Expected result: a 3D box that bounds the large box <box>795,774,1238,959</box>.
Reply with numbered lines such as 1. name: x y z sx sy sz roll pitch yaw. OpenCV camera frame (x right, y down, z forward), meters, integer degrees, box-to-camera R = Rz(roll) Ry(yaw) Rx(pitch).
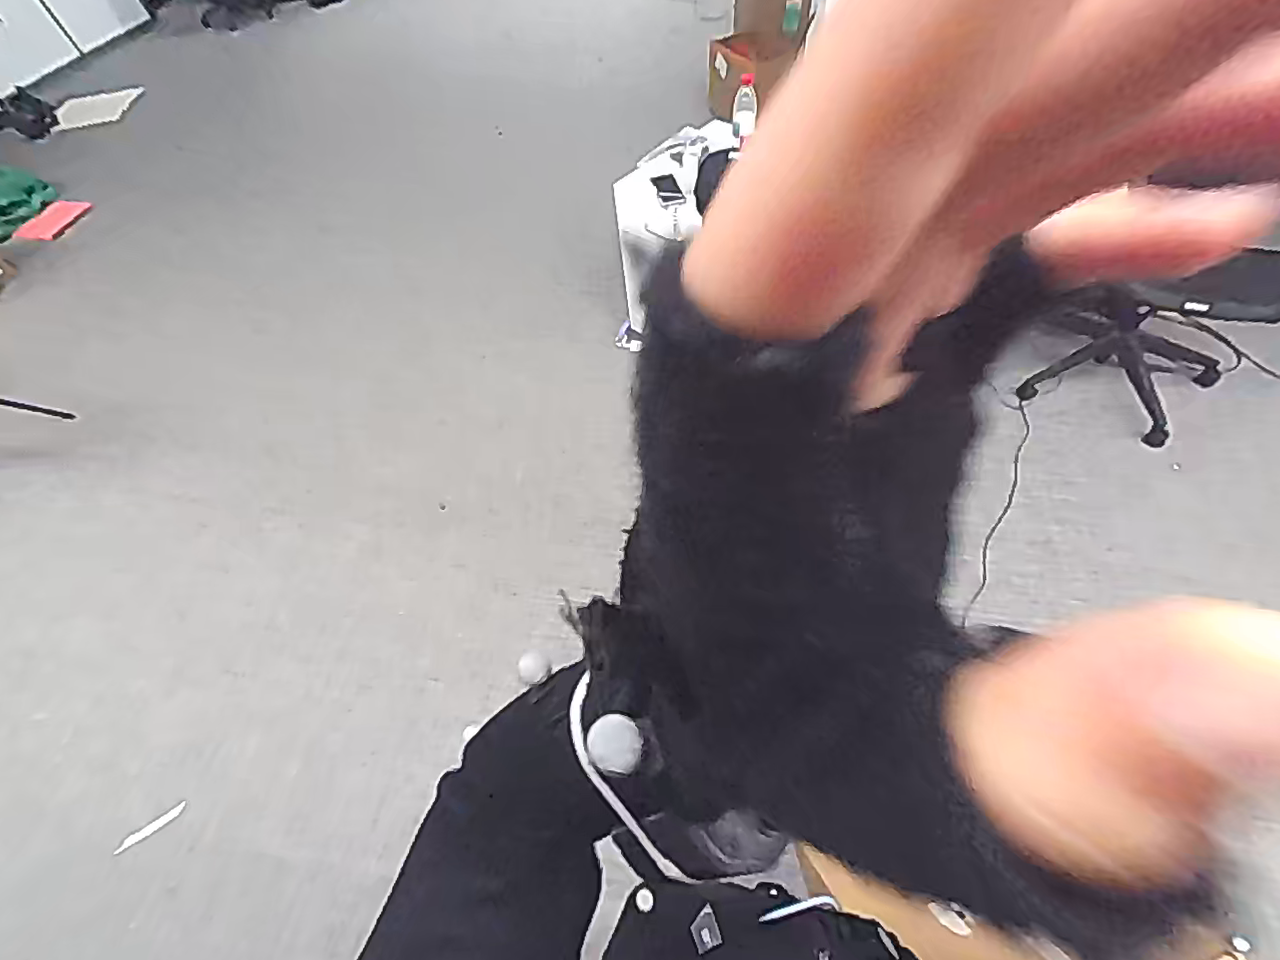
1. large box: 0.447 0.654 0.678 0.320 0.408 0.320 -16 88 -6
